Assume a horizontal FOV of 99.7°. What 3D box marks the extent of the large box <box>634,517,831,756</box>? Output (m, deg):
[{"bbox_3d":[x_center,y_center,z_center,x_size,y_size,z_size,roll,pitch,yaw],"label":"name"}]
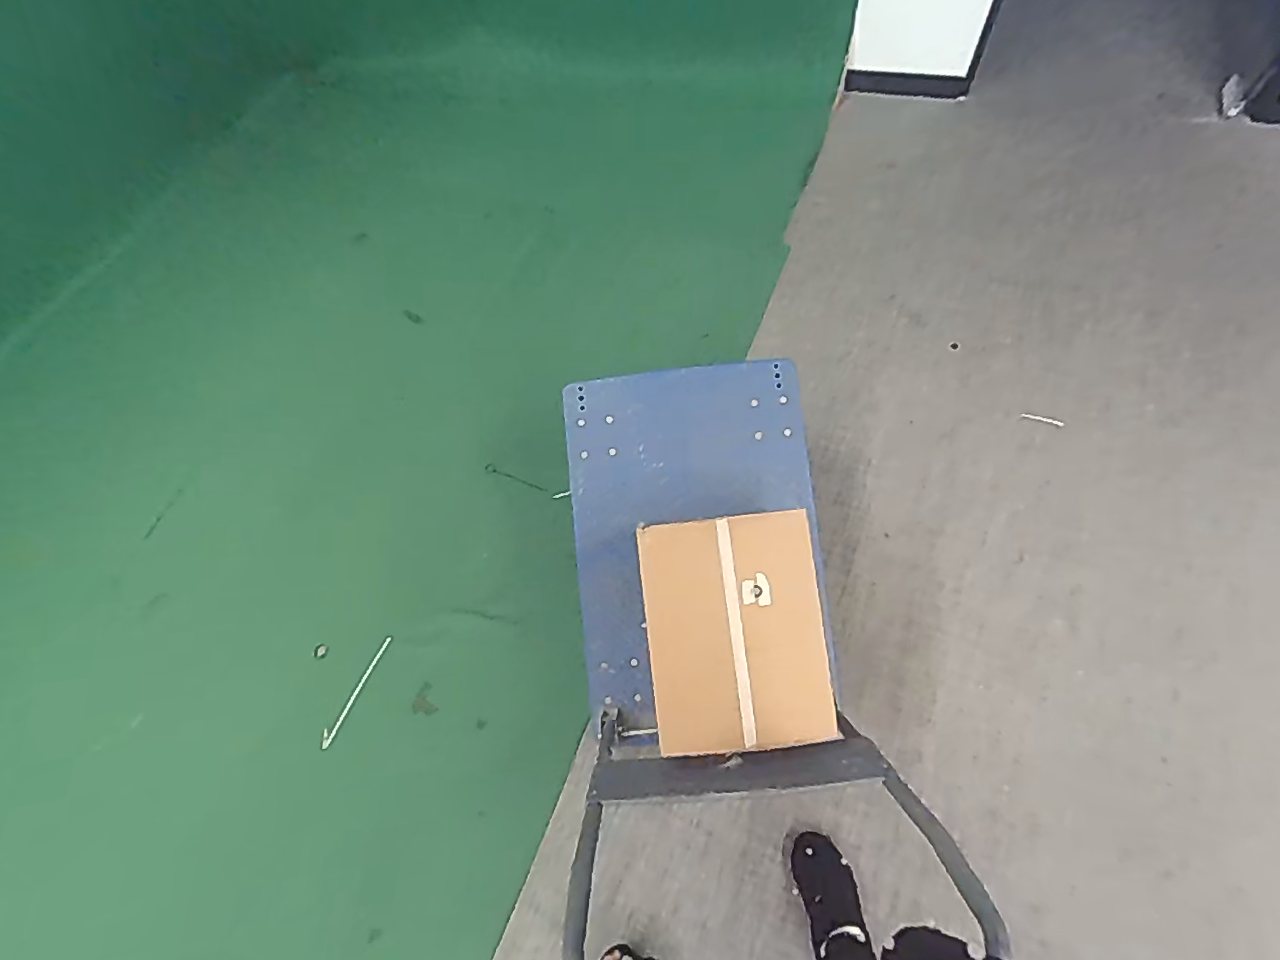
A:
[{"bbox_3d":[0.173,0.300,1.130,0.320,0.320,0.408,-6,83,2],"label":"large box"}]
